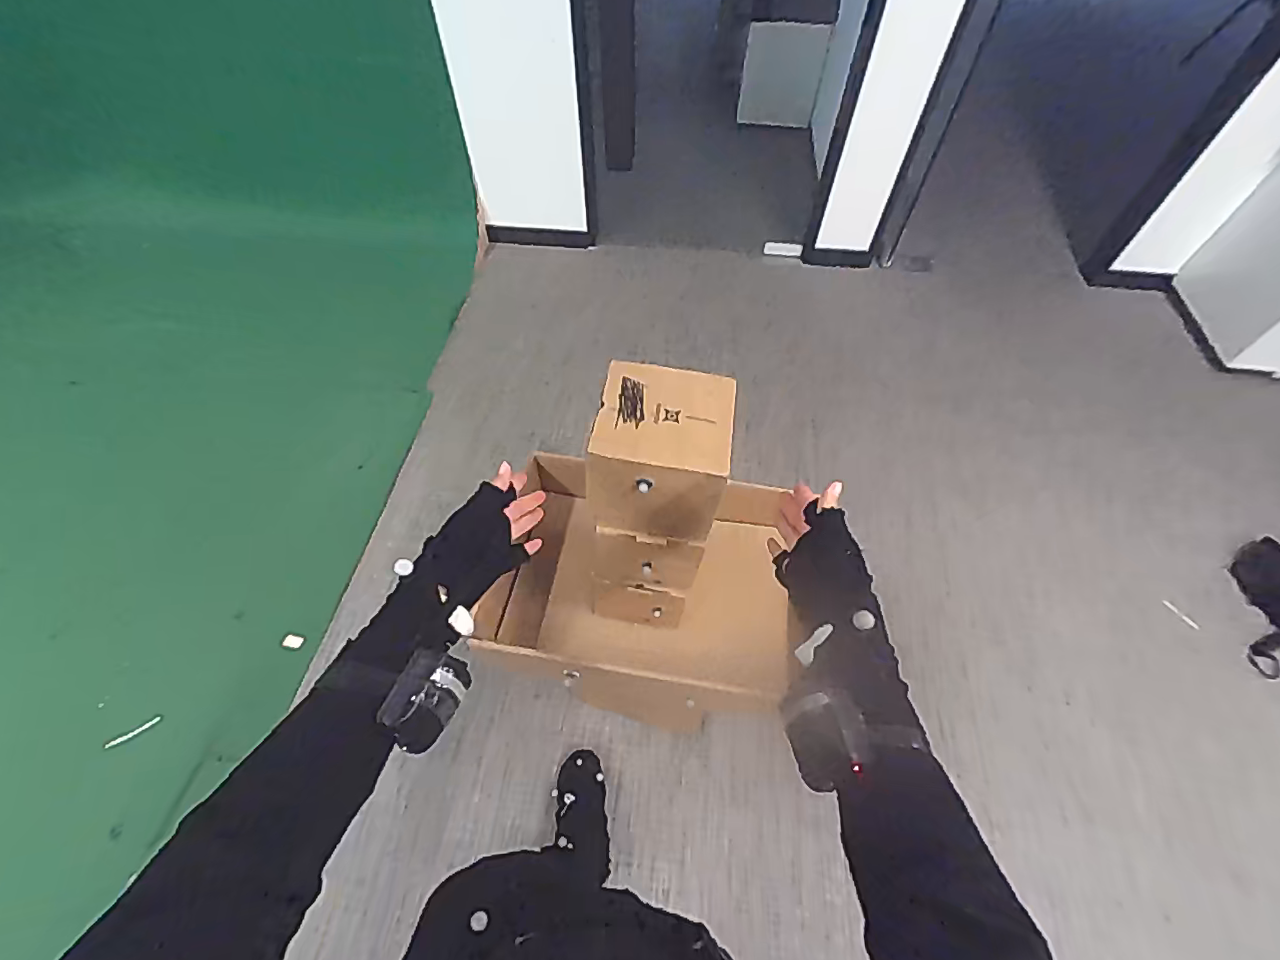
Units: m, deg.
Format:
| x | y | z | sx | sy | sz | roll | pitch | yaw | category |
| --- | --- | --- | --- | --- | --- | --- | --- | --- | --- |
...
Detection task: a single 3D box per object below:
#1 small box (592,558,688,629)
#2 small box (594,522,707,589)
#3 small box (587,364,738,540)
| x | y | z | sx | sy | sz | roll | pitch | yaw | category |
| --- | --- | --- | --- | --- | --- | --- | --- | --- | --- |
| 0.010 | 0.162 | 1.017 | 0.168 | 0.176 | 0.179 | 10 | 54 | 2 | small box |
| 0.022 | 0.064 | 0.887 | 0.168 | 0.176 | 0.179 | 8 | 56 | 1 | small box |
| 0.029 | -0.033 | 0.752 | 0.179 | 0.176 | 0.168 | 10 | 56 | 2 | small box |
